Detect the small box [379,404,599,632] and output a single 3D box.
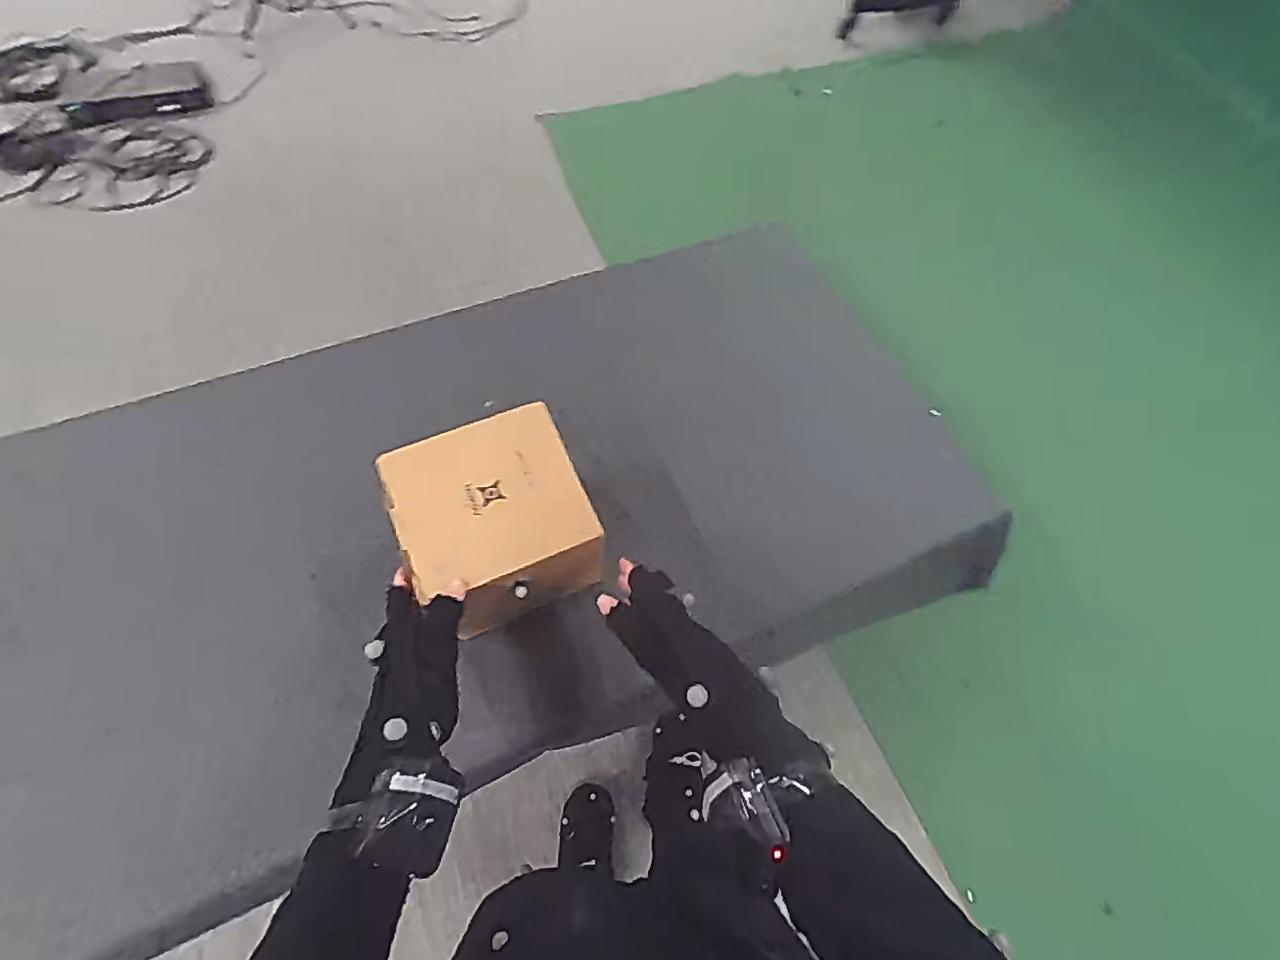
[{"bbox_3d":[-0.154,0.050,0.600,0.179,0.176,0.168,-22,69,-15],"label":"small box"}]
